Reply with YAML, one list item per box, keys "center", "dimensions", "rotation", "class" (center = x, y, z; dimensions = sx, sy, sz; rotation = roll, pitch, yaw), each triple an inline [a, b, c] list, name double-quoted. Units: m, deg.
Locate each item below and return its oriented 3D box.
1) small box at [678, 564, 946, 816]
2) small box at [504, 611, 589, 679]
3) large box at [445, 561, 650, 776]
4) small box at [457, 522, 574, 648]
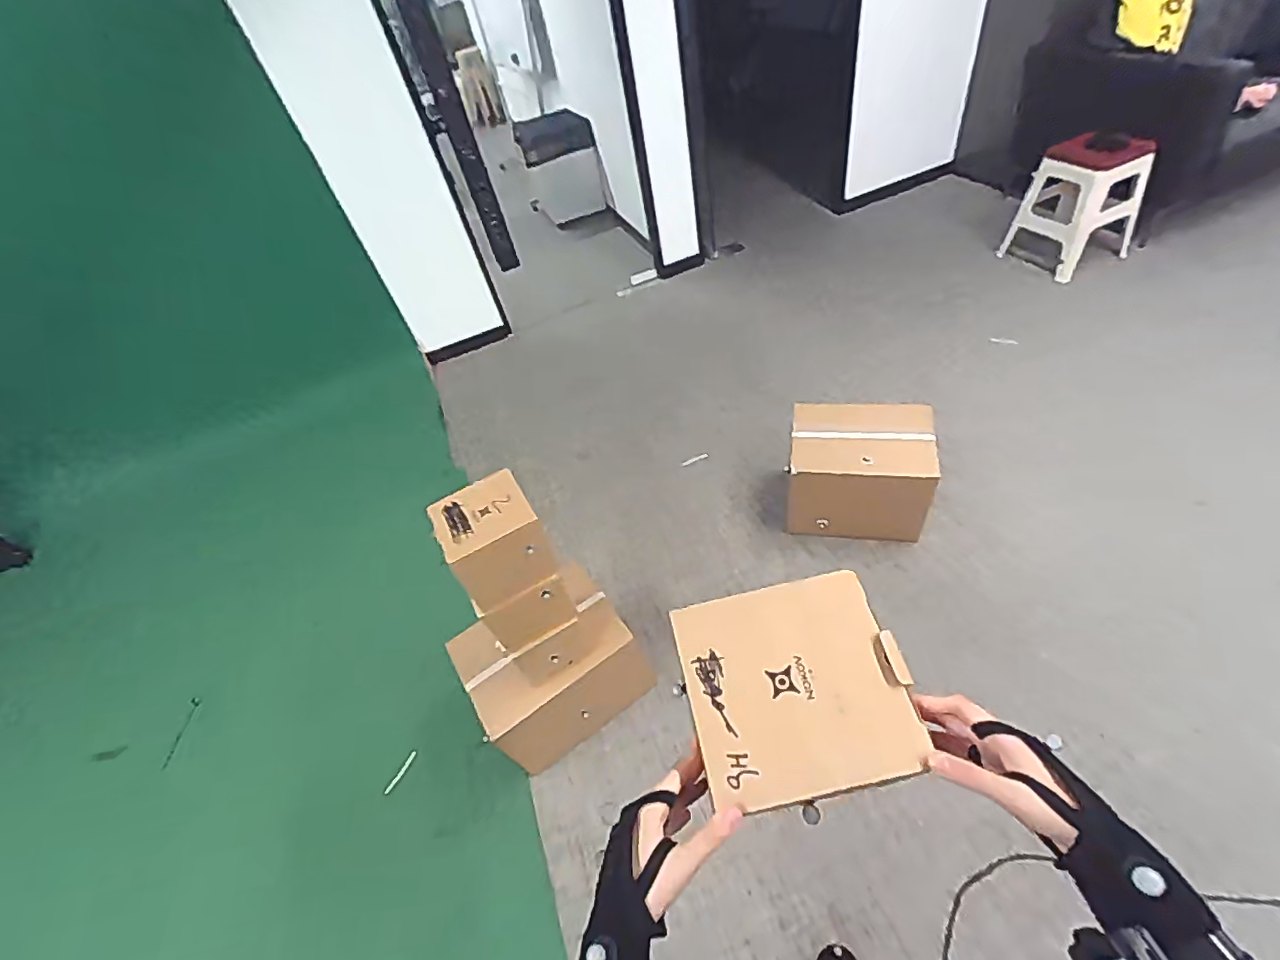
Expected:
- center: [0.138, 0.202, 0.508]
  dimensions: [0.179, 0.176, 0.168]
  rotation: [-12, 54, -1]
  class: "small box"
- center: [-0.239, 0.346, 1.281]
  dimensions: [0.168, 0.176, 0.179]
  rotation: [-28, 48, -14]
  class: "small box"
- center: [-0.236, 0.508, 1.470]
  dimensions: [0.408, 0.320, 0.320]
  rotation: [-33, 48, -16]
  class: "large box"
- center: [-0.266, 0.231, 1.170]
  dimensions: [0.179, 0.176, 0.168]
  rotation: [-27, 48, -13]
  class: "small box"
